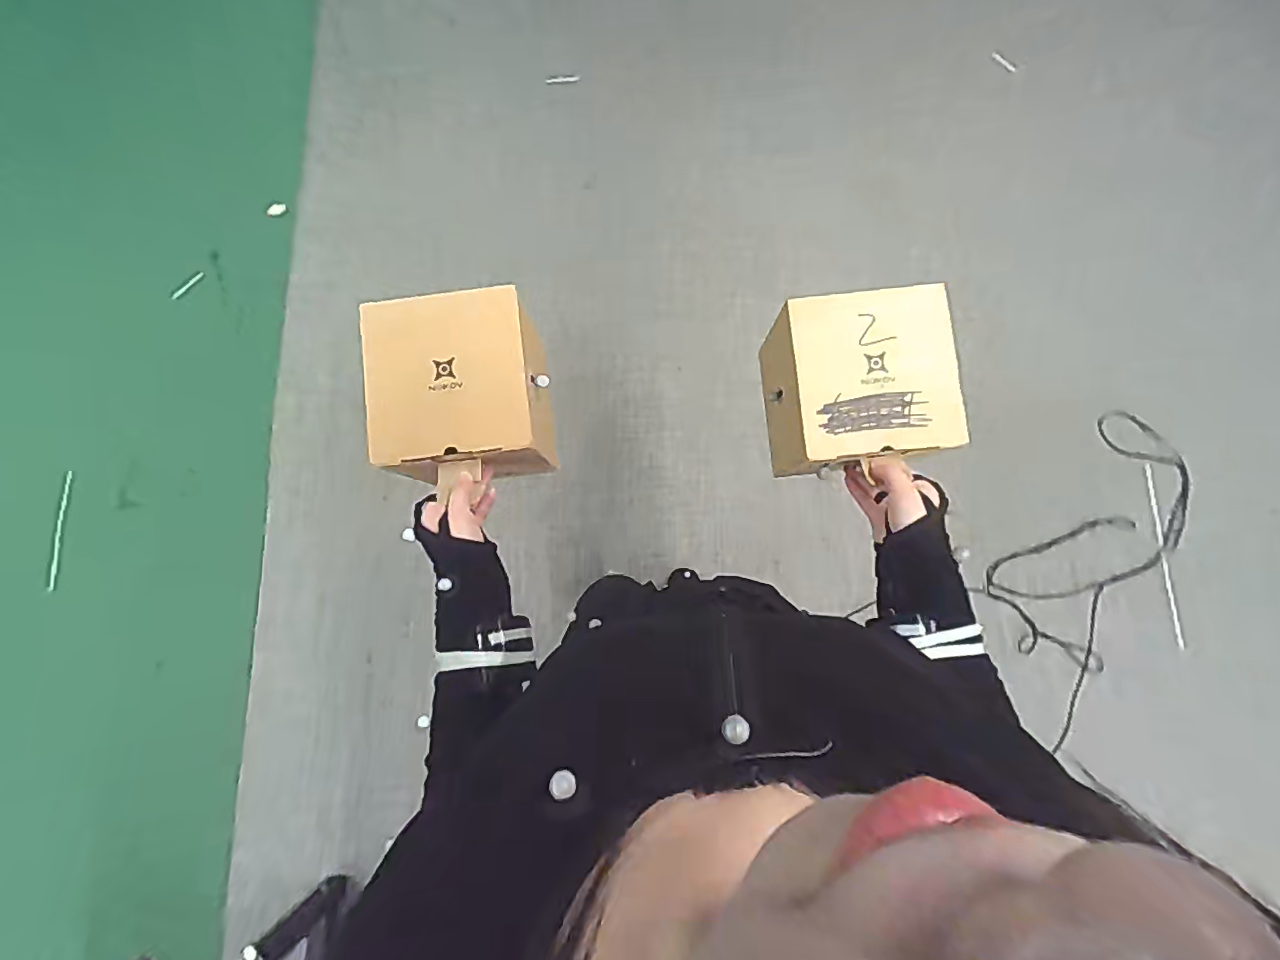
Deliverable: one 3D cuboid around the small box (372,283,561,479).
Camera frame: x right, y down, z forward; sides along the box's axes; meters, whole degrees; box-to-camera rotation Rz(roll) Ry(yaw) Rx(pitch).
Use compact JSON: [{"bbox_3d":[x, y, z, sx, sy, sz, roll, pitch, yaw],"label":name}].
[{"bbox_3d":[-0.189,-0.103,0.630,0.168,0.176,0.179,-6,84,0],"label":"small box"}]
